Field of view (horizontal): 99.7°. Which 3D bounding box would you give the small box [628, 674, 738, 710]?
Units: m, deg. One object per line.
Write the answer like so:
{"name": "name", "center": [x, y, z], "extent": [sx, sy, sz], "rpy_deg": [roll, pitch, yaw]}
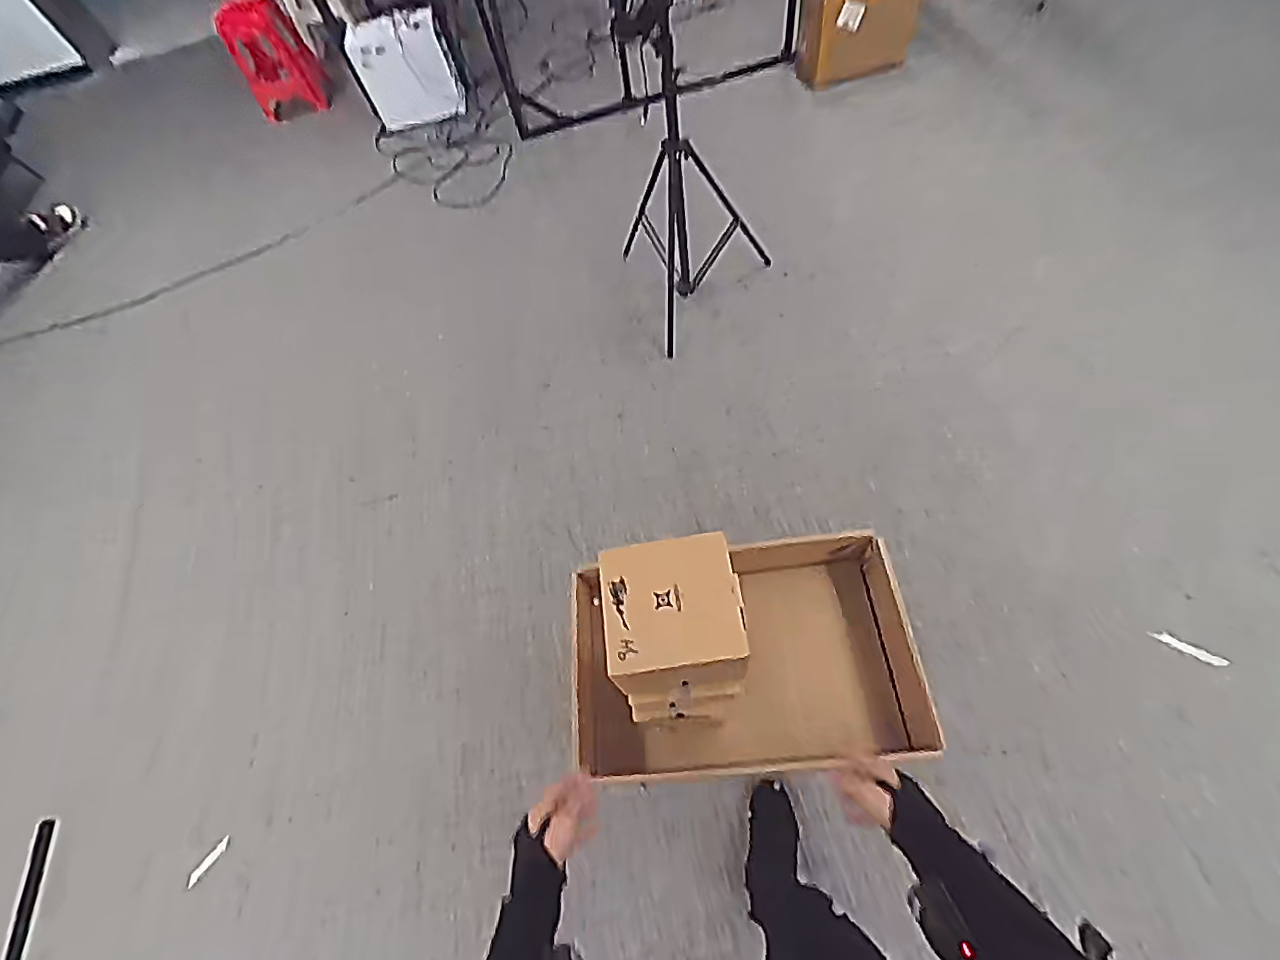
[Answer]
{"name": "small box", "center": [0.066, 0.277, 0.892], "extent": [0.168, 0.176, 0.179], "rpy_deg": [-7, 60, 3]}

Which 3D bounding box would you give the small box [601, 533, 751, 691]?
{"name": "small box", "center": [0.047, 0.190, 0.754], "extent": [0.179, 0.176, 0.168], "rpy_deg": [-8, 60, 2]}

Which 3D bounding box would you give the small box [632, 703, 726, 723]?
{"name": "small box", "center": [0.076, 0.364, 1.029], "extent": [0.168, 0.176, 0.179], "rpy_deg": [-4, 61, 5]}
